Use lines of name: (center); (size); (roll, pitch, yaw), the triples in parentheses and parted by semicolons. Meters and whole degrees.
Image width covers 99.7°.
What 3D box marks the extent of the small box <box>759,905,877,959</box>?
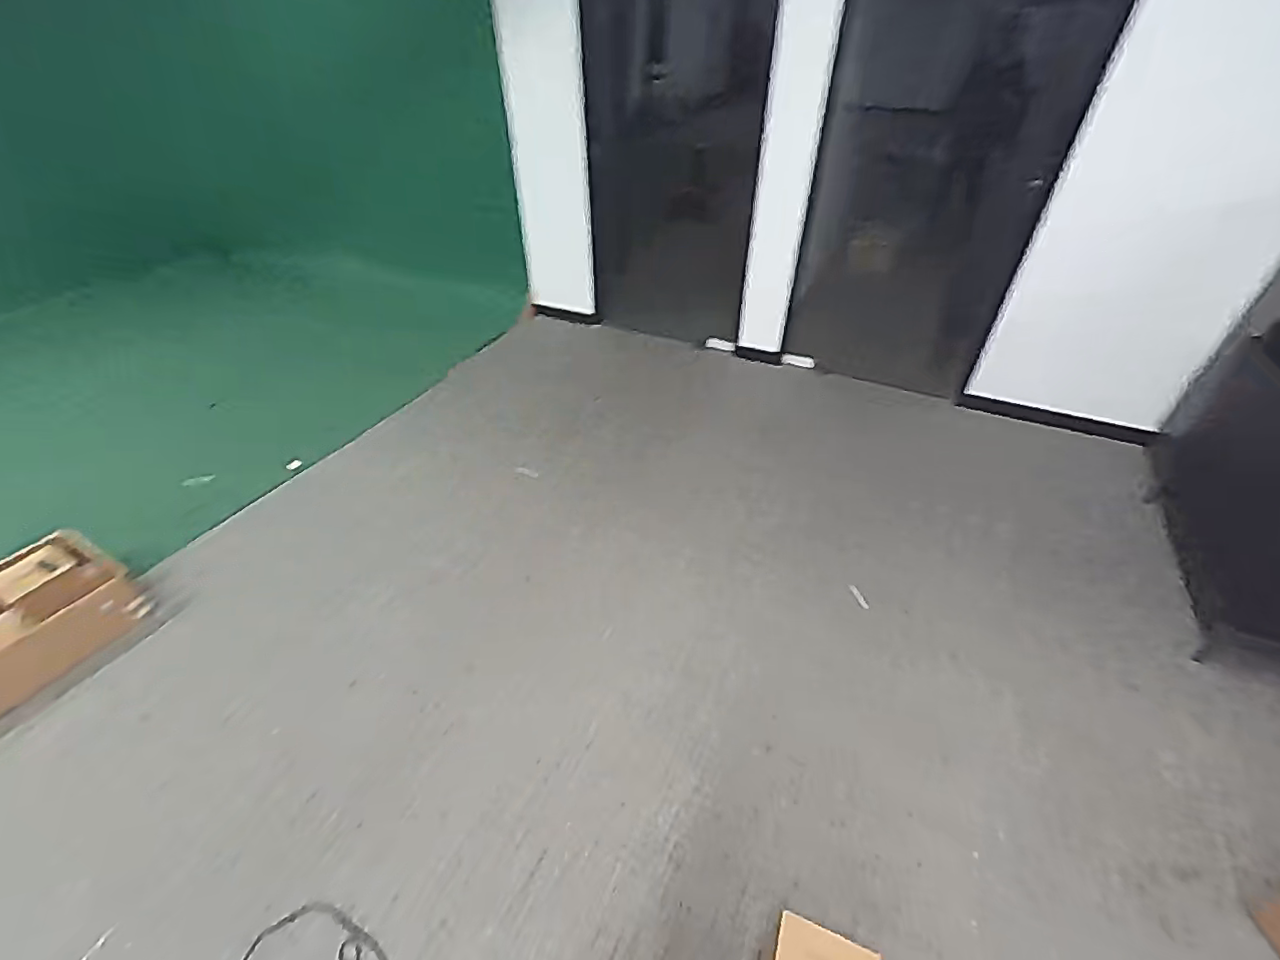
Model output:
small box: (0.290, 0.883, 0.922); (0.168, 0.176, 0.179); (16, 41, 16)
